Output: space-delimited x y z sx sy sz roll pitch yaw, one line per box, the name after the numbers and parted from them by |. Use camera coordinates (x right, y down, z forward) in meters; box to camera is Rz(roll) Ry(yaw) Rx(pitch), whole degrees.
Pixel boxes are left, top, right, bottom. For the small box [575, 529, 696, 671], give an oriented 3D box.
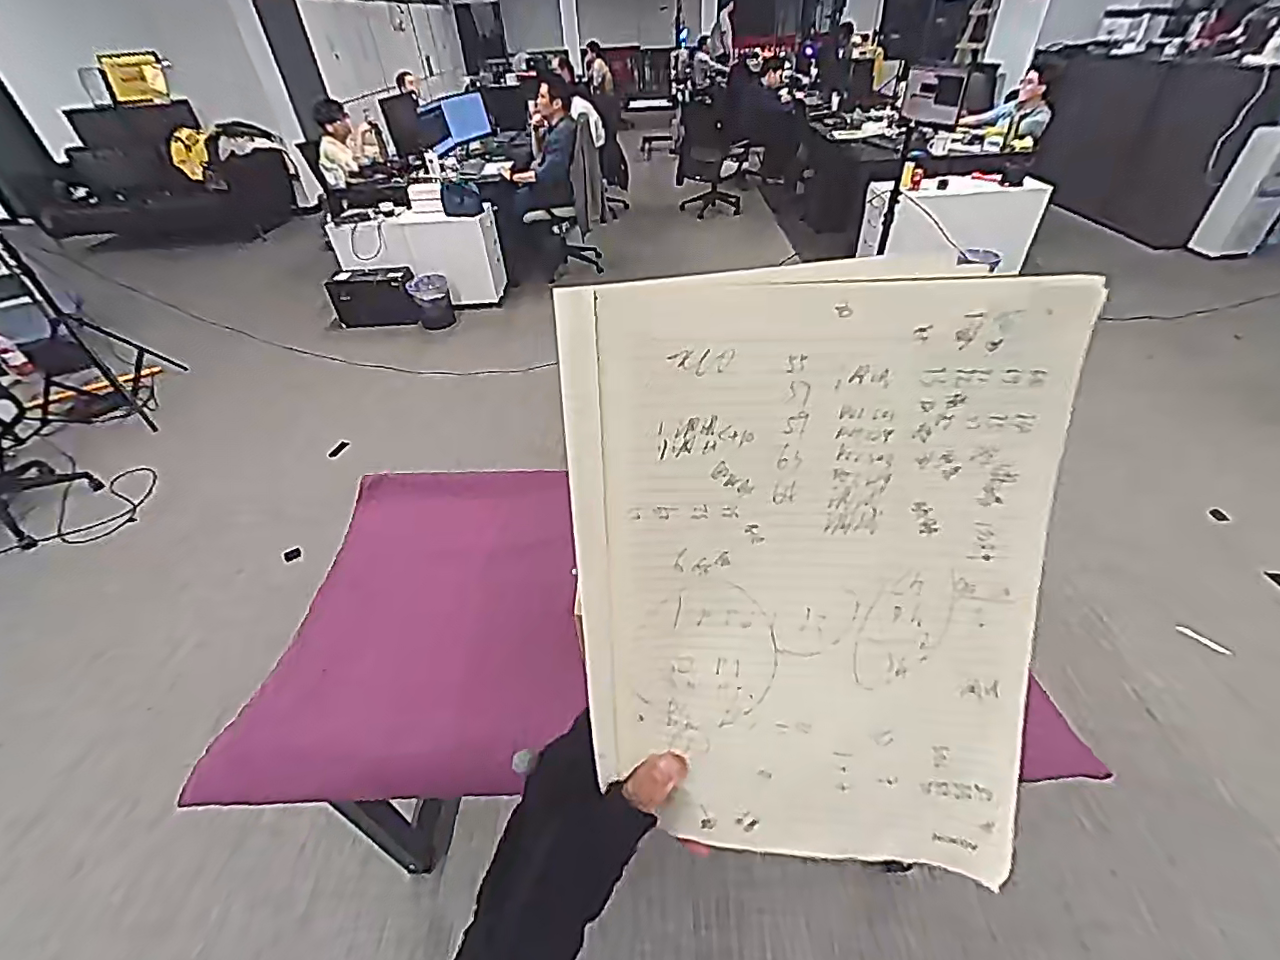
-0.005 0.197 0.886 0.179 0.176 0.168 -2 40 1 | small box
